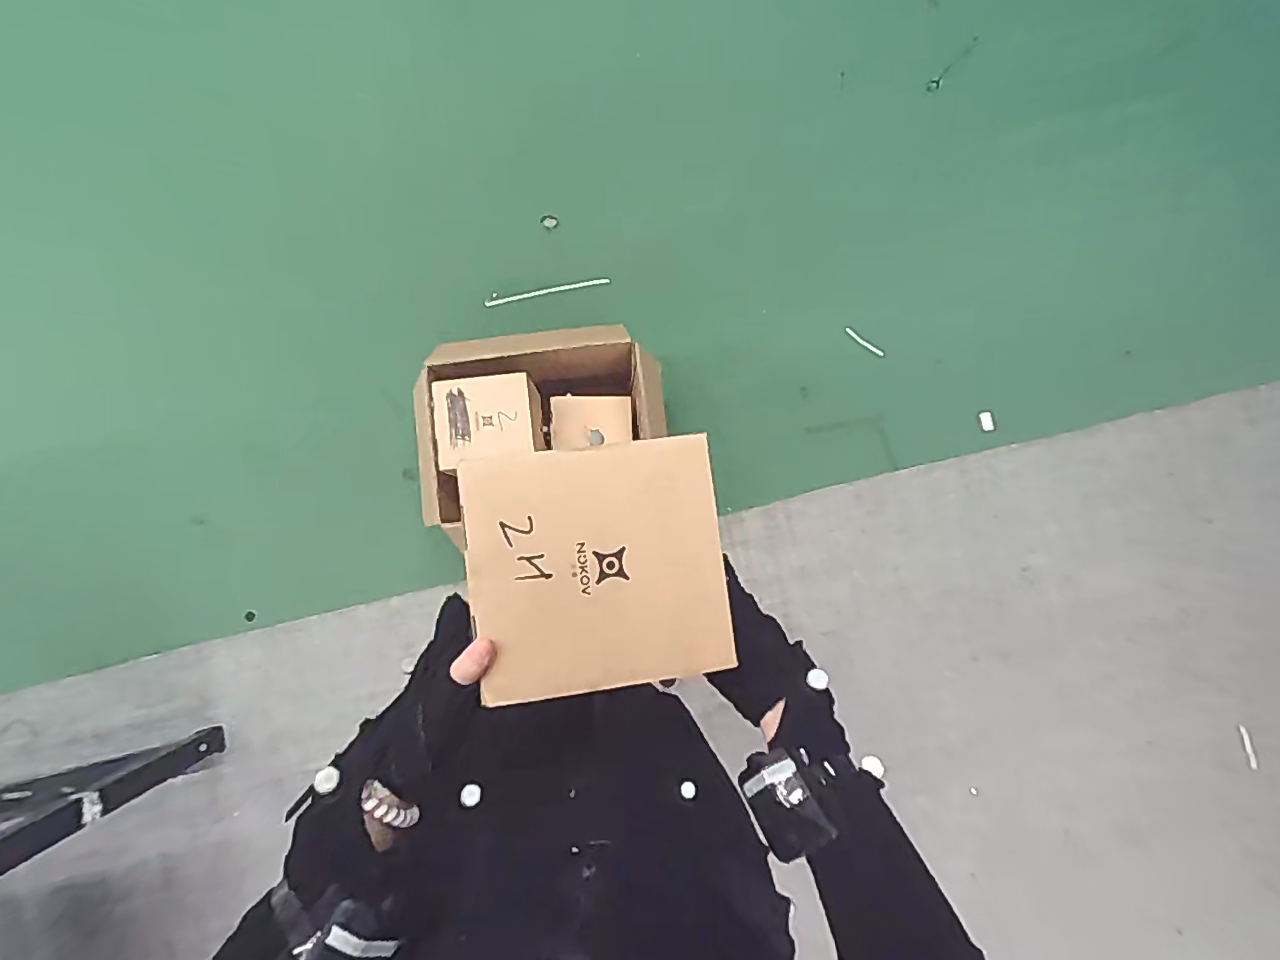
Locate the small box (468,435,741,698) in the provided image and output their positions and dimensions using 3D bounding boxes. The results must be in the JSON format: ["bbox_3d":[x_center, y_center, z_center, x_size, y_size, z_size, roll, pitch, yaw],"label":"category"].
[{"bbox_3d":[-0.032,0.061,0.448,0.179,0.176,0.168,-6,85,-6],"label":"small box"}]
